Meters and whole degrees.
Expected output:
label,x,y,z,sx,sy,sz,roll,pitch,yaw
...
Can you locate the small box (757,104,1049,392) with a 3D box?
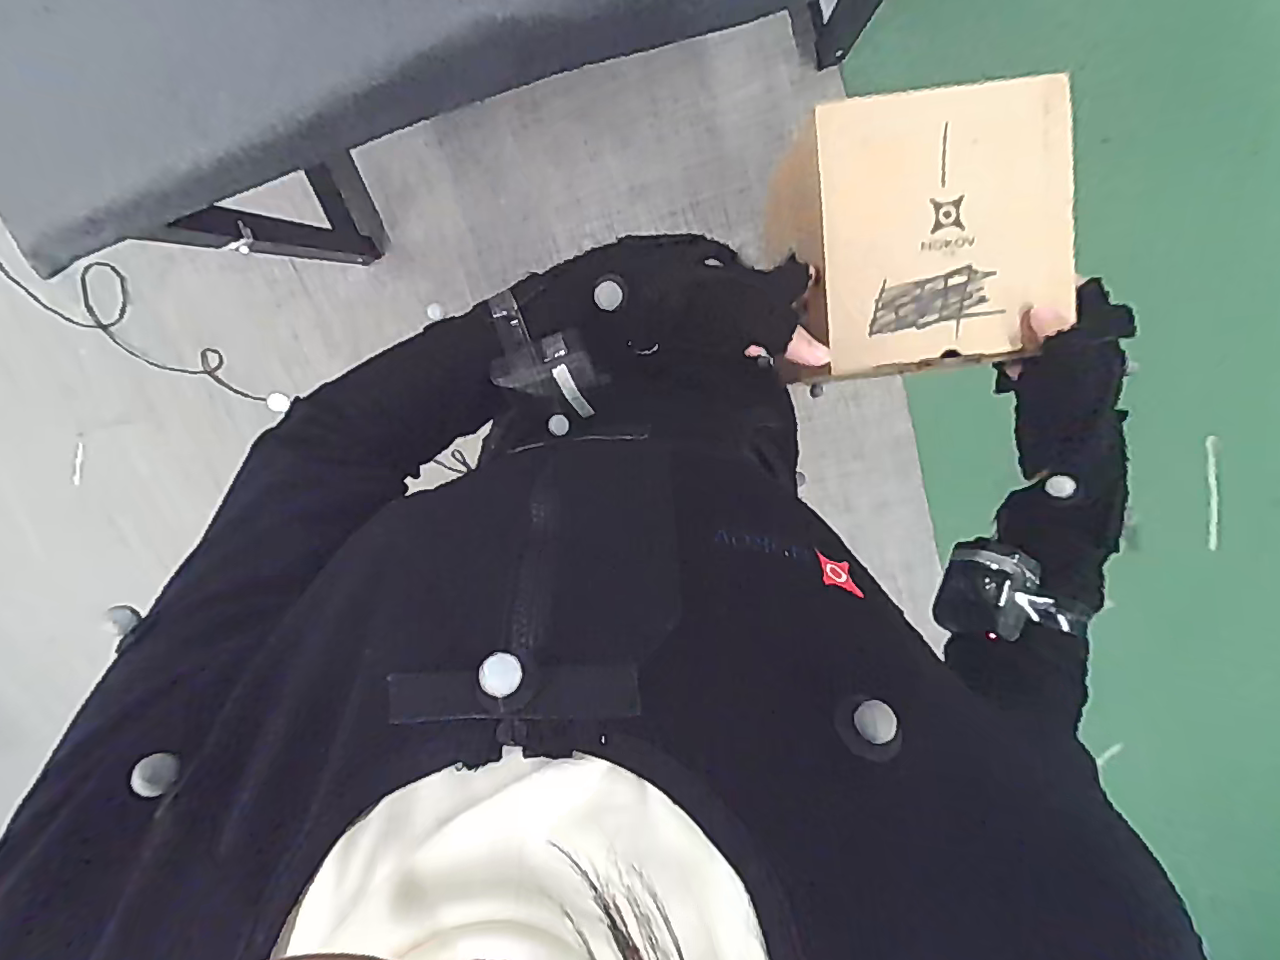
label,x,y,z,sx,sy,sz,roll,pitch,yaw
small box,0.199,-0.168,0.453,0.168,0.176,0.179,-6,95,1
